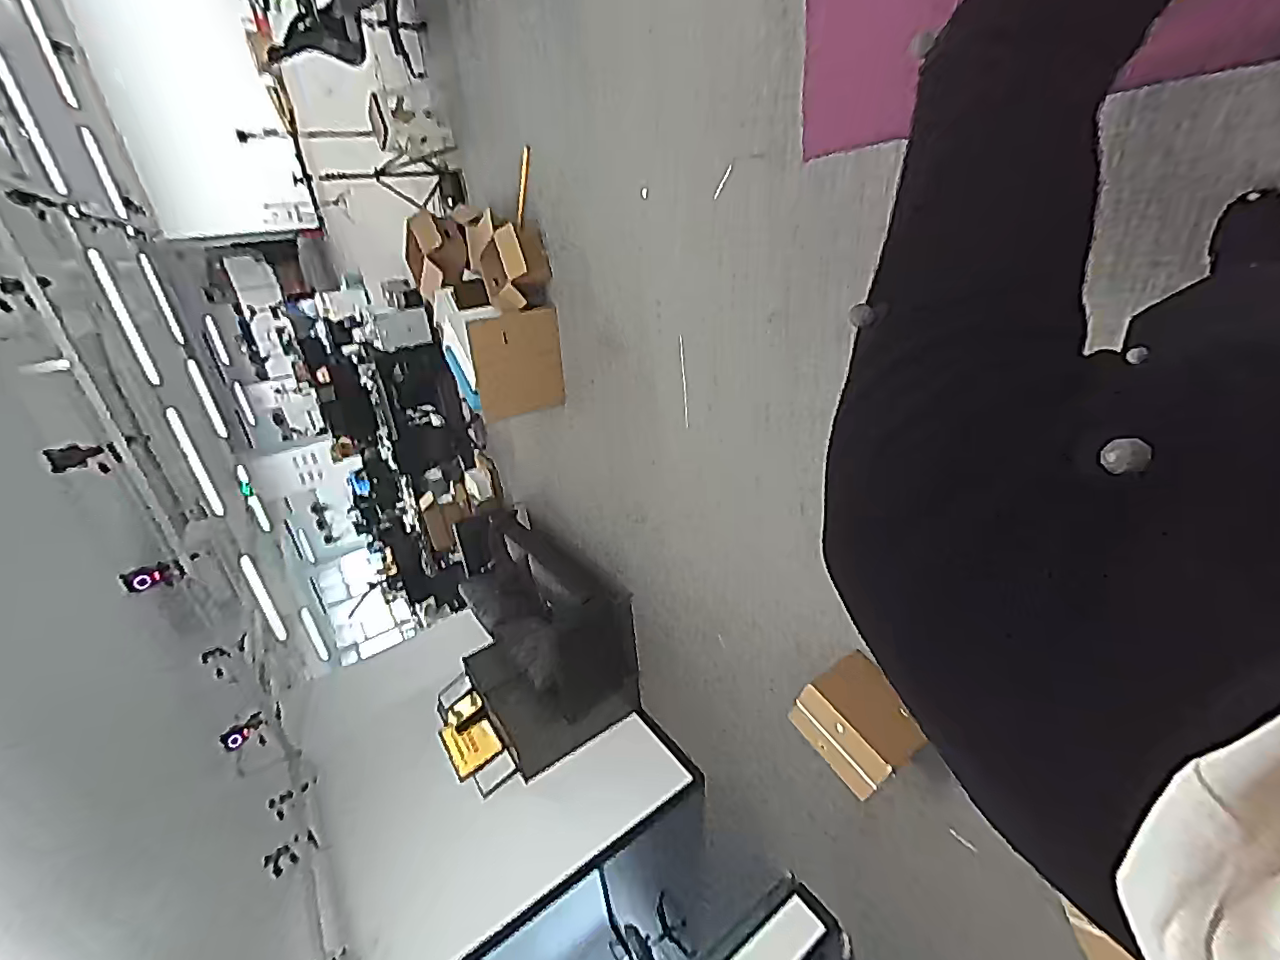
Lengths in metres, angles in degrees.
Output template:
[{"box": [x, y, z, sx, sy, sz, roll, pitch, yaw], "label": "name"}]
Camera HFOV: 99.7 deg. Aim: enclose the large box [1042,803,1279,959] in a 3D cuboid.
[{"box": [1.411, 1.143, 1.444, 0.408, 0.320, 0.320, -27, 85, 59], "label": "large box"}]
